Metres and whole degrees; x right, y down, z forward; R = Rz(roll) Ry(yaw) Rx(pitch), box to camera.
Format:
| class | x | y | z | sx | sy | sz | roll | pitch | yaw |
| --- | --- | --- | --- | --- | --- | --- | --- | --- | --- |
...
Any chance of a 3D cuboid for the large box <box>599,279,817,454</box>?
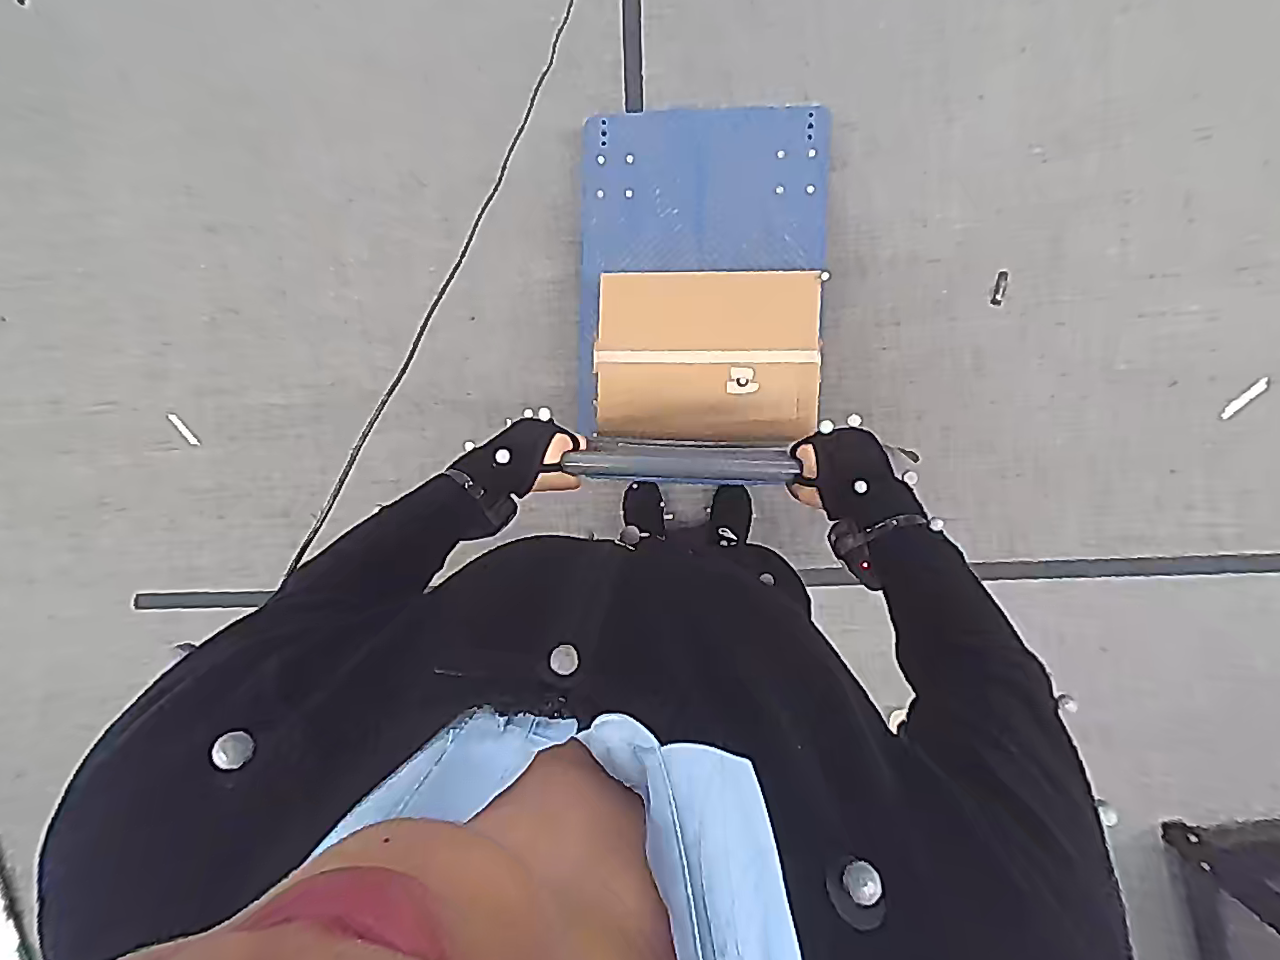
| class | x | y | z | sx | sy | sz | roll | pitch | yaw |
| --- | --- | --- | --- | --- | --- | --- | --- | --- | --- |
| large box | 0.132 | -0.216 | 1.144 | 0.408 | 0.320 | 0.320 | 2 | 92 | 5 |
